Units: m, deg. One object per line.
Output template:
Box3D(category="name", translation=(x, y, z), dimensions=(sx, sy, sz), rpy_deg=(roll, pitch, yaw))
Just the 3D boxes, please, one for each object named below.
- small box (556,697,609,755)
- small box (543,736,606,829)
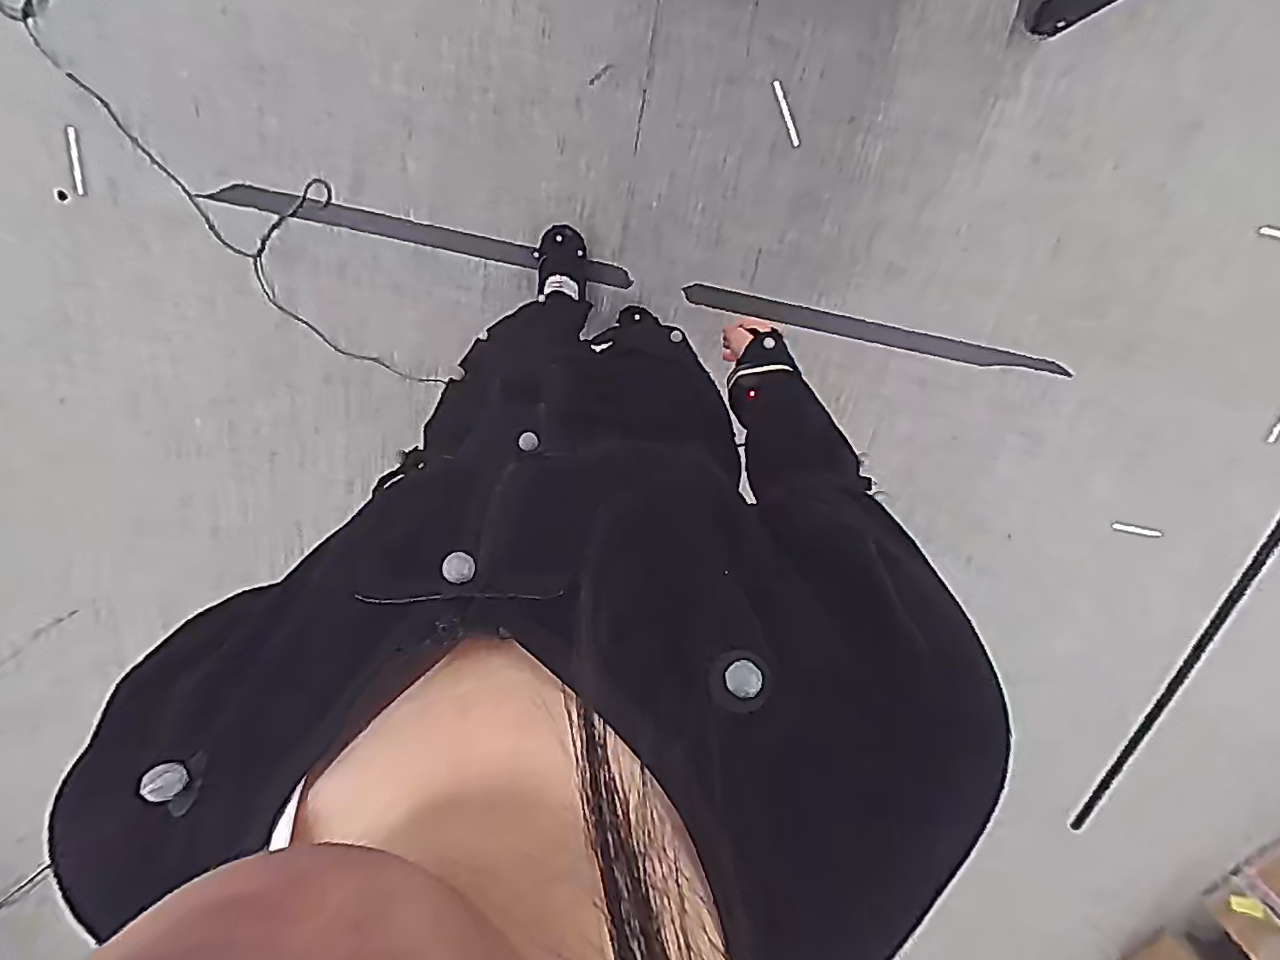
Box3D(category="small box", translation=(-0.193, 0.843, 1.777), dimensions=(0.168, 0.176, 0.179), rpy_deg=(6, 111, -2))
Box3D(category="small box", translation=(-0.193, 0.906, 1.624), dimensions=(0.168, 0.176, 0.179), rpy_deg=(5, 112, -3))
